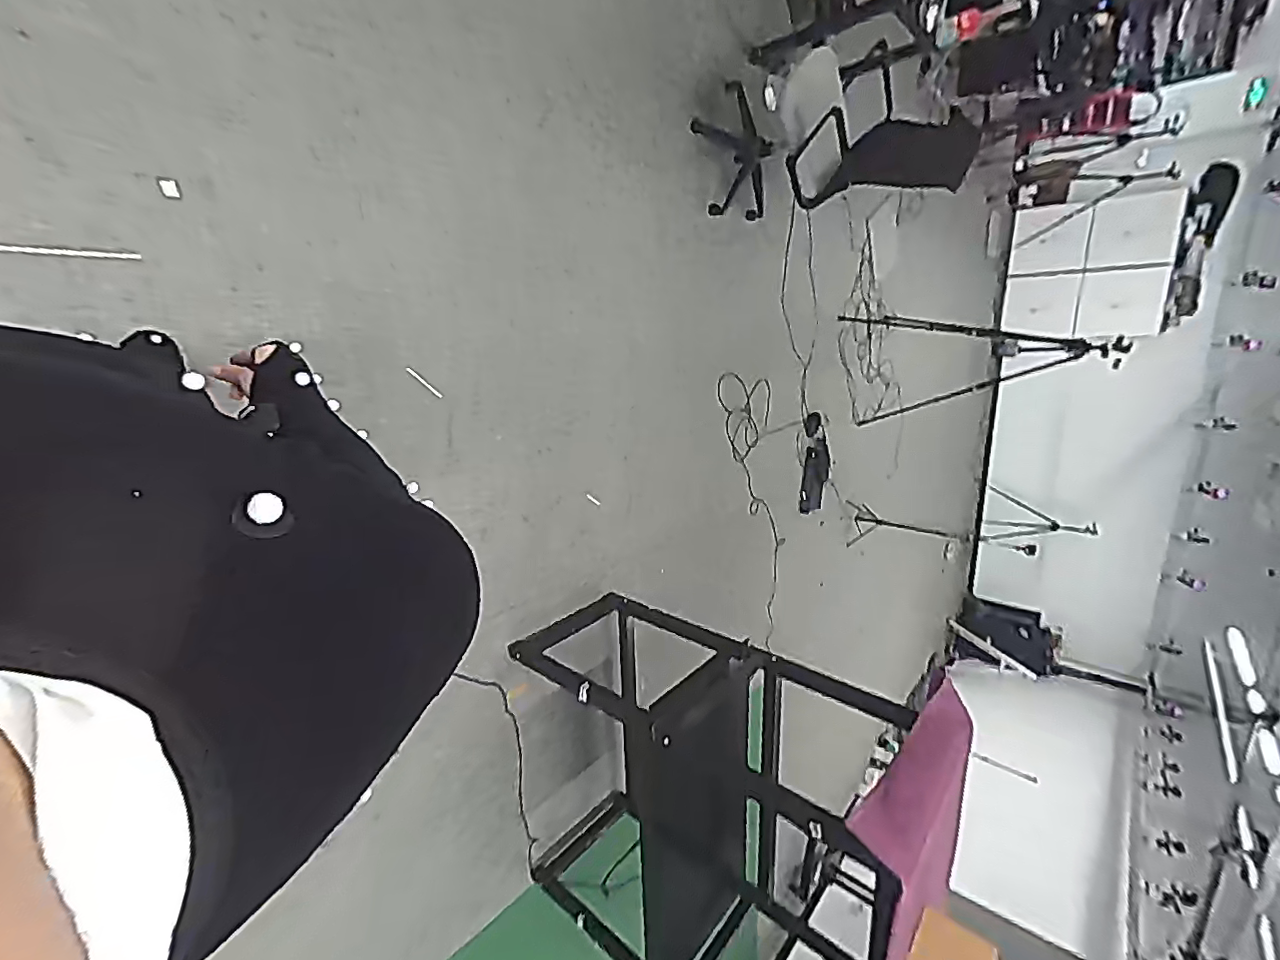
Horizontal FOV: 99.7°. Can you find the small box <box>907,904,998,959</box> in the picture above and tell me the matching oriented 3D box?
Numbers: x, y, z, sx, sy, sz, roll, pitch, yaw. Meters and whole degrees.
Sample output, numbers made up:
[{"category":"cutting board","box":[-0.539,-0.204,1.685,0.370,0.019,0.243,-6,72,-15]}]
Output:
[{"category":"small box","box":[0.743,1.197,1.306,0.179,0.176,0.168,-15,110,-48]}]
